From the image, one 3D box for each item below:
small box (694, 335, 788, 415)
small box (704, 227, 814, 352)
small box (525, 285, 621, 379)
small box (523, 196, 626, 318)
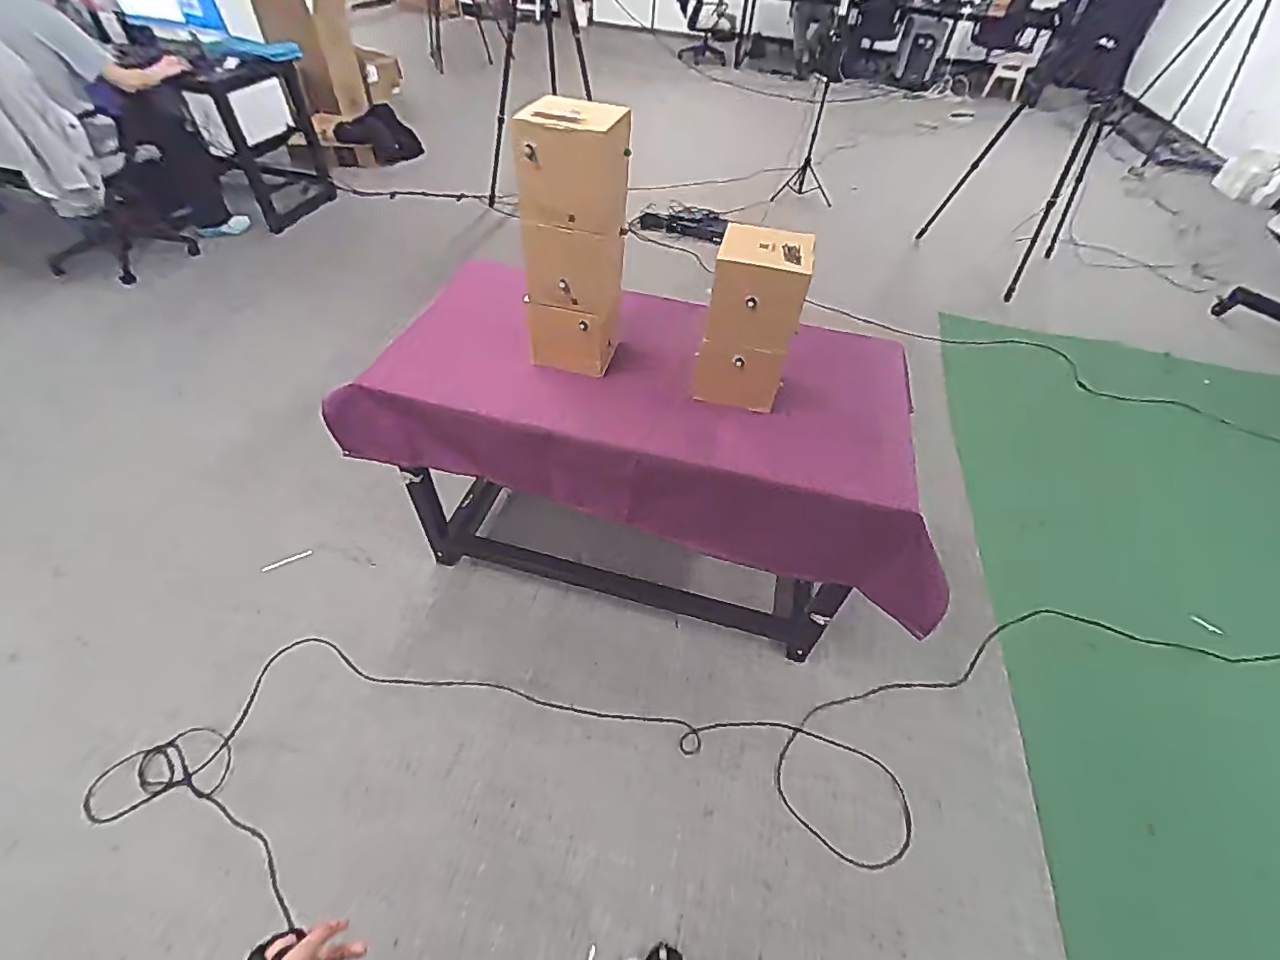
[{"bbox_3d":[0.226,-0.266,1.201,0.179,0.176,0.168,14,49,7],"label":"small box"},{"bbox_3d":[0.235,-0.377,1.081,0.179,0.176,0.168,12,48,8],"label":"small box"},{"bbox_3d":[-0.151,-0.356,1.257,0.179,0.176,0.168,12,48,6],"label":"small box"},{"bbox_3d":[-0.133,-0.469,1.138,0.168,0.176,0.179,12,48,6],"label":"small box"}]
